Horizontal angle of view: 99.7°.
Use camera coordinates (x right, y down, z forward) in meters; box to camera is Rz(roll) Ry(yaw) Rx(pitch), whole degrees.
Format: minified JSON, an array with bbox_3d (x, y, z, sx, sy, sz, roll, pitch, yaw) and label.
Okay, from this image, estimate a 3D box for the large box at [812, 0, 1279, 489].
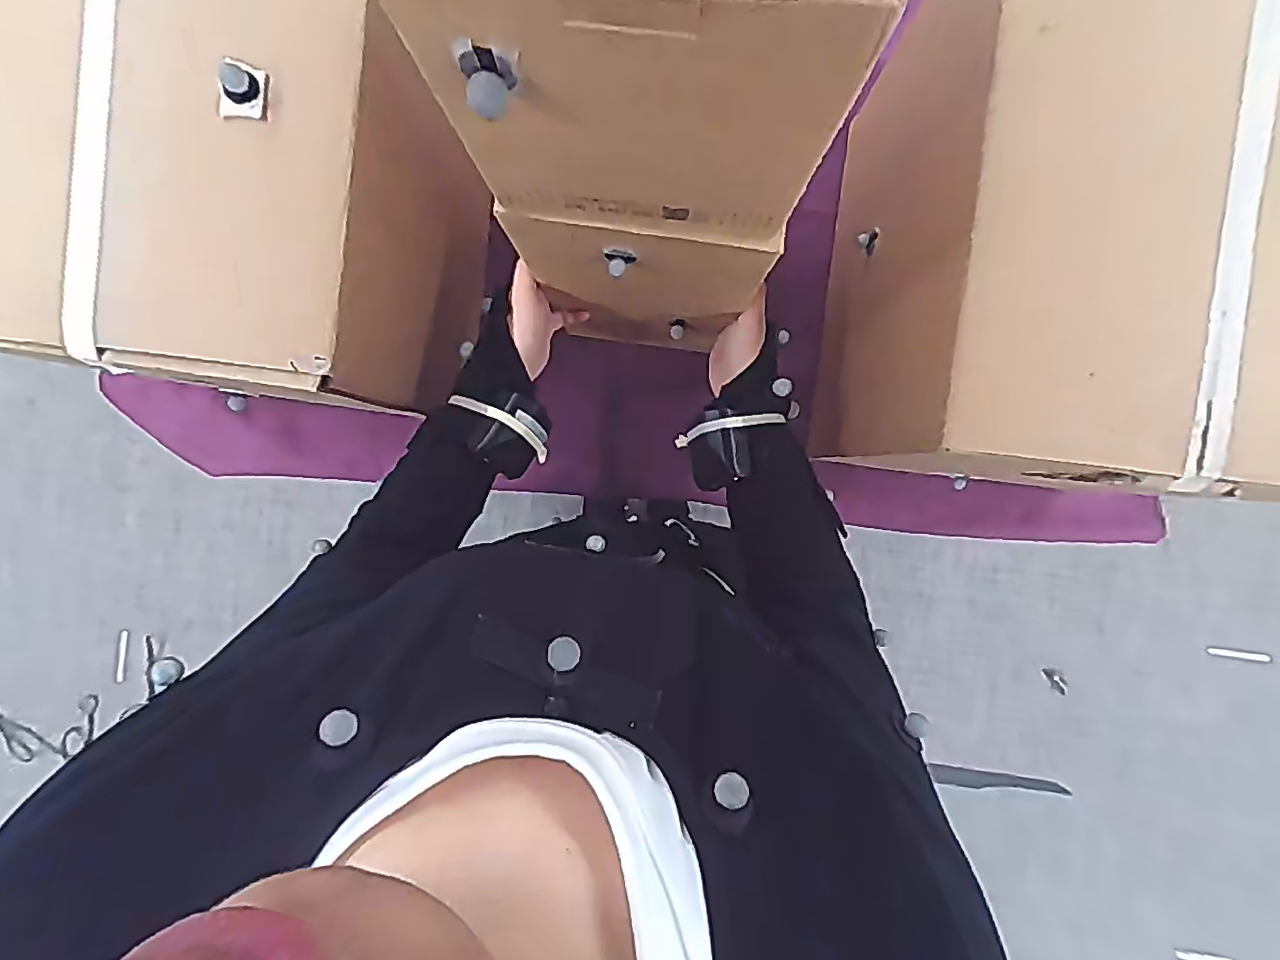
[{"bbox_3d":[0.366,-0.204,0.487,0.320,0.320,0.408,6,90,0],"label":"large box"}]
